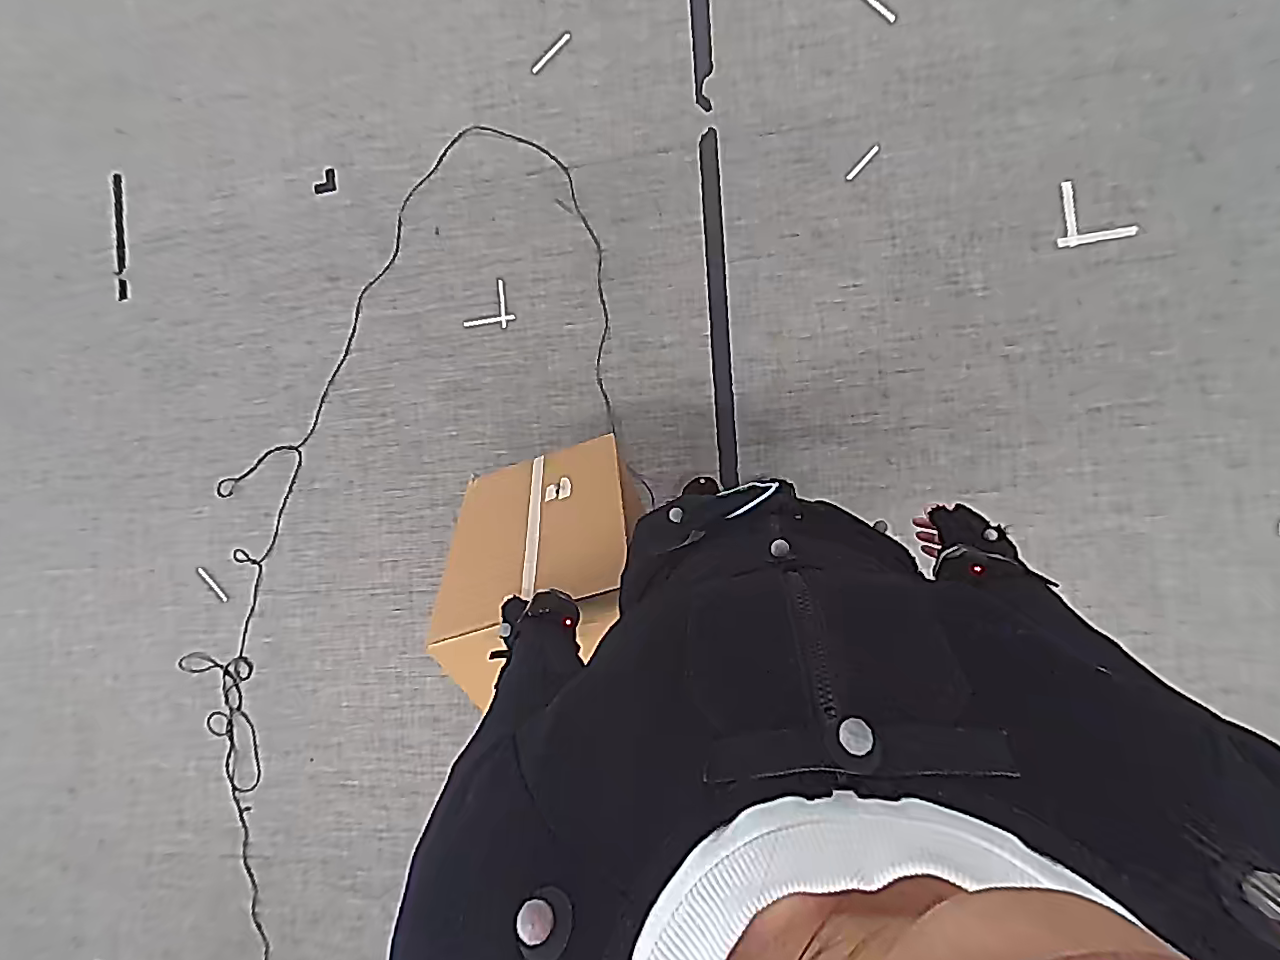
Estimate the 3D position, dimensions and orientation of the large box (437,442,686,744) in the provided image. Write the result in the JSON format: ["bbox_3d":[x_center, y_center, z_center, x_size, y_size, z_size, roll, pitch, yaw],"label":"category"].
[{"bbox_3d":[-0.127,0.195,1.005,0.320,0.408,0.320,-17,125,5],"label":"large box"}]
